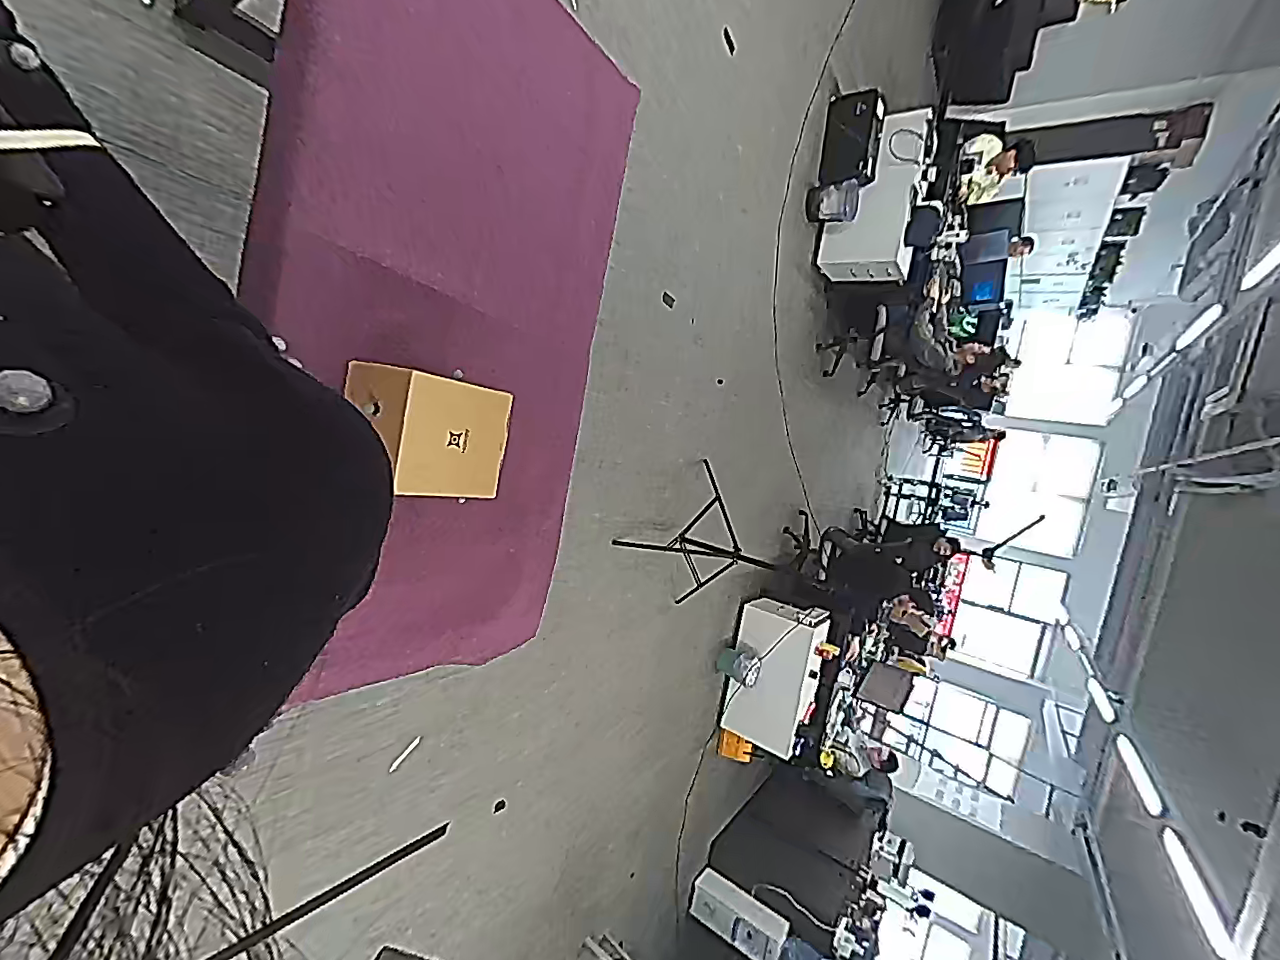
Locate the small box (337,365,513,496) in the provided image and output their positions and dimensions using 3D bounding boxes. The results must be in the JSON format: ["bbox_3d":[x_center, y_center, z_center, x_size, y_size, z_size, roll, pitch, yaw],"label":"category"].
[{"bbox_3d":[-0.324,-0.073,0.815,0.179,0.176,0.168,5,97,-57],"label":"small box"}]
